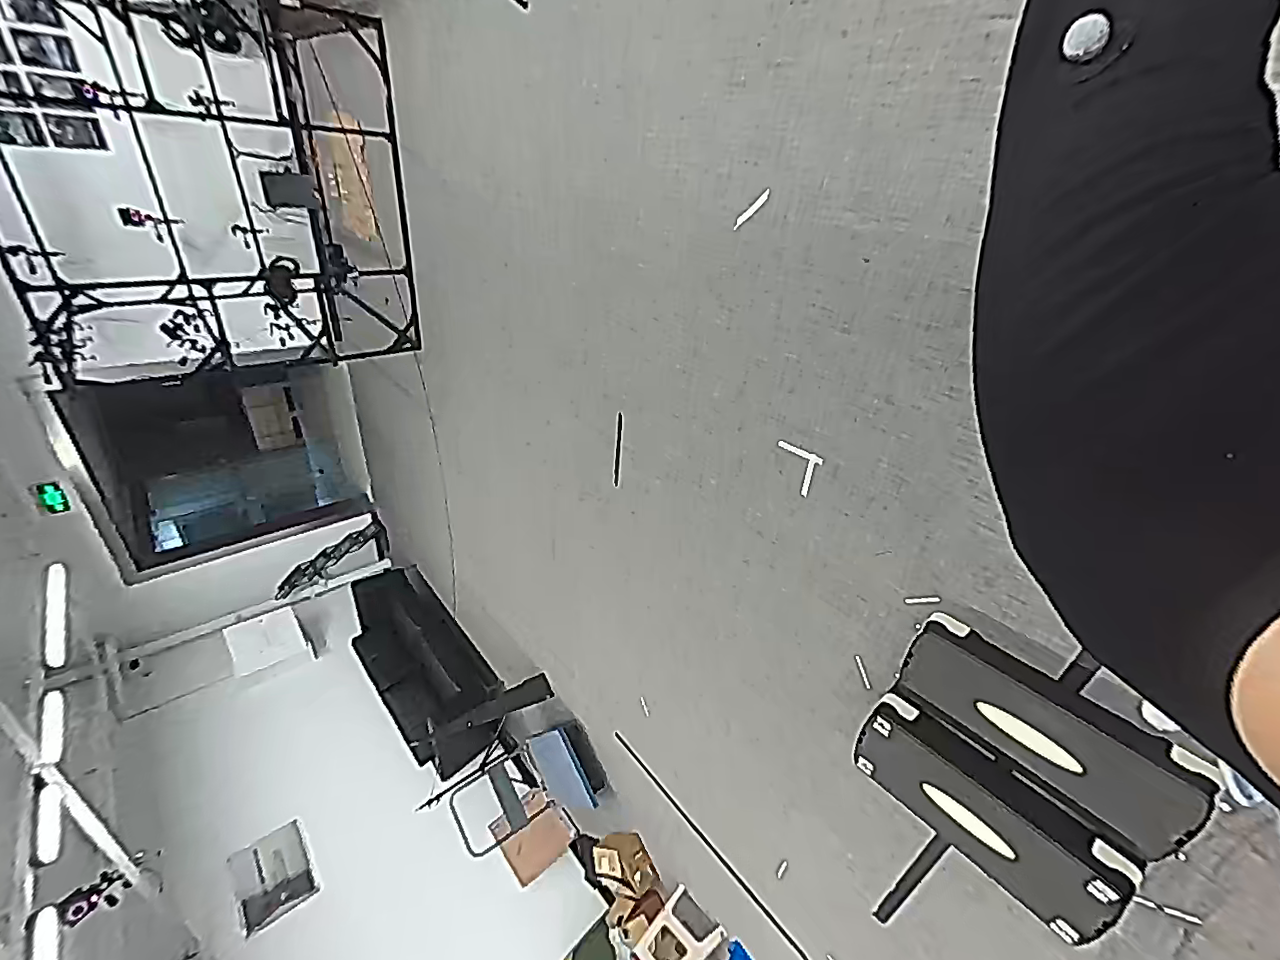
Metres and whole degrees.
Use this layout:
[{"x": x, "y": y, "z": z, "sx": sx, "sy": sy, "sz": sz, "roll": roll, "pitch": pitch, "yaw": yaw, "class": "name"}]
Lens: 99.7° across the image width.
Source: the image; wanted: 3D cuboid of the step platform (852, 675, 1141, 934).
[{"x": 0.976, "y": 0.906, "z": 1.573, "sx": 0.684, "sy": 0.204, "sz": 0.286, "roll": 33, "pitch": 130, "yaw": 41, "class": "step platform"}]
